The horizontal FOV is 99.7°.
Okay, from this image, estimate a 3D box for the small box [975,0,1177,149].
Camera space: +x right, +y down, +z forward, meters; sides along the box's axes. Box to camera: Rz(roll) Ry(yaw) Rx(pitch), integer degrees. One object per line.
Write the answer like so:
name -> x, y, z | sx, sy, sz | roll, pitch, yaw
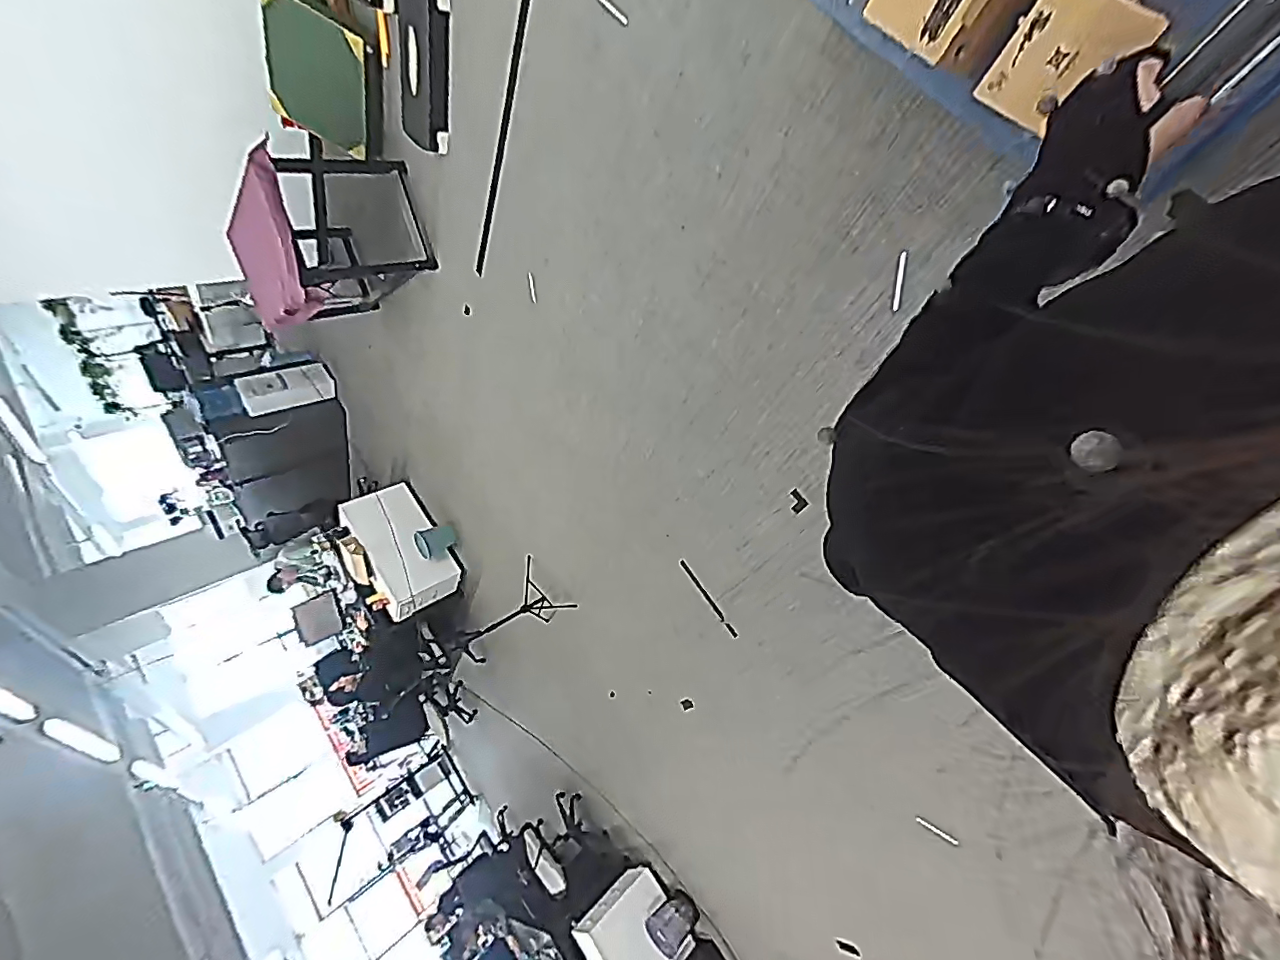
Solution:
small box -> 0.679, -0.646, 0.844 | 0.179, 0.176, 0.168 | 49, 138, 18
